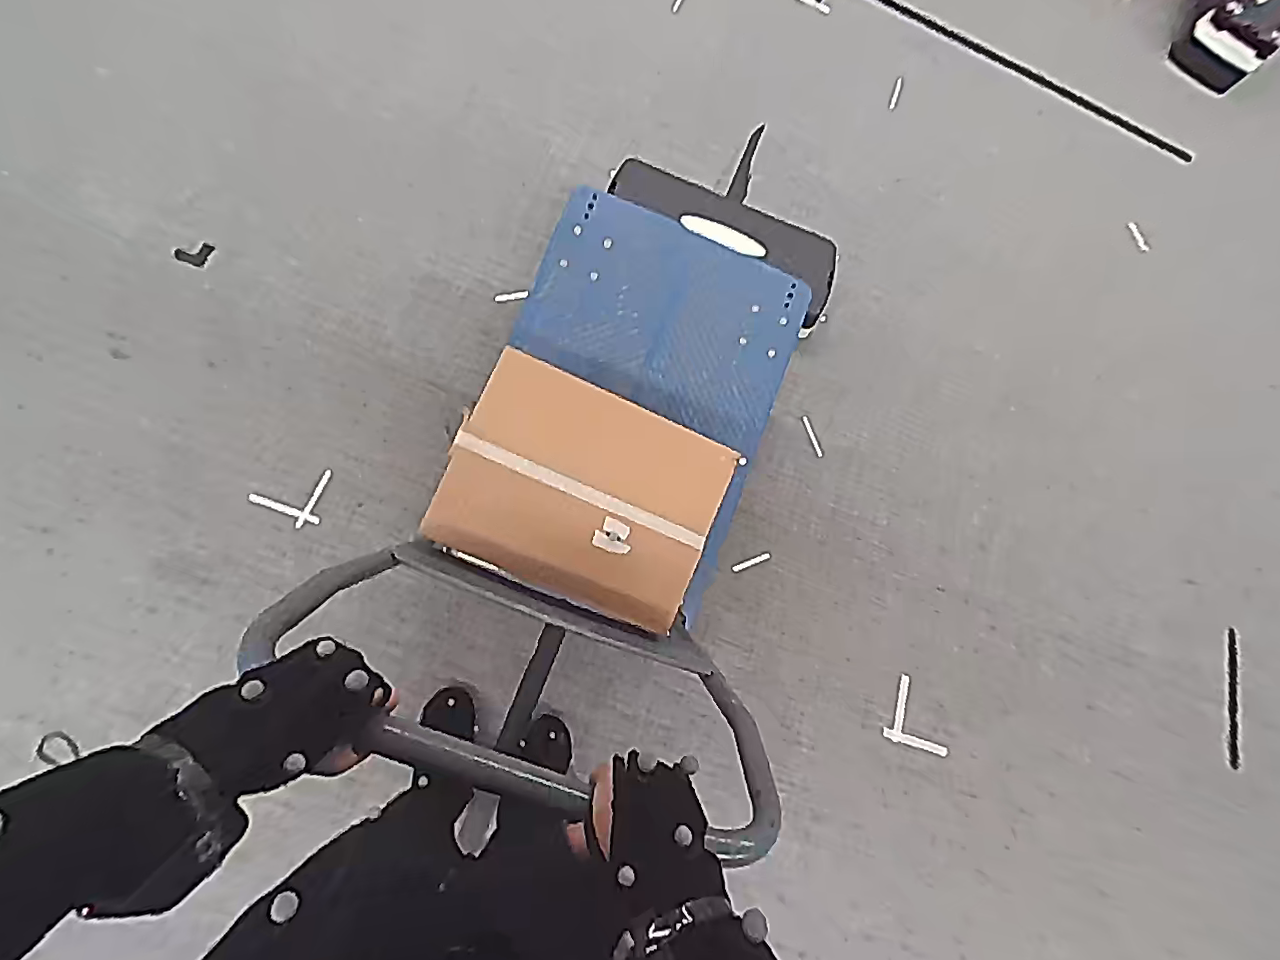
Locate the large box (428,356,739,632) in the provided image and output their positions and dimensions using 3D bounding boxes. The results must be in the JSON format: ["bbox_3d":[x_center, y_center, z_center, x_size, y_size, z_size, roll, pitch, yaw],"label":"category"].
[{"bbox_3d":[-0.100,0.033,0.978,0.408,0.320,0.320,24,84,-6],"label":"large box"}]
